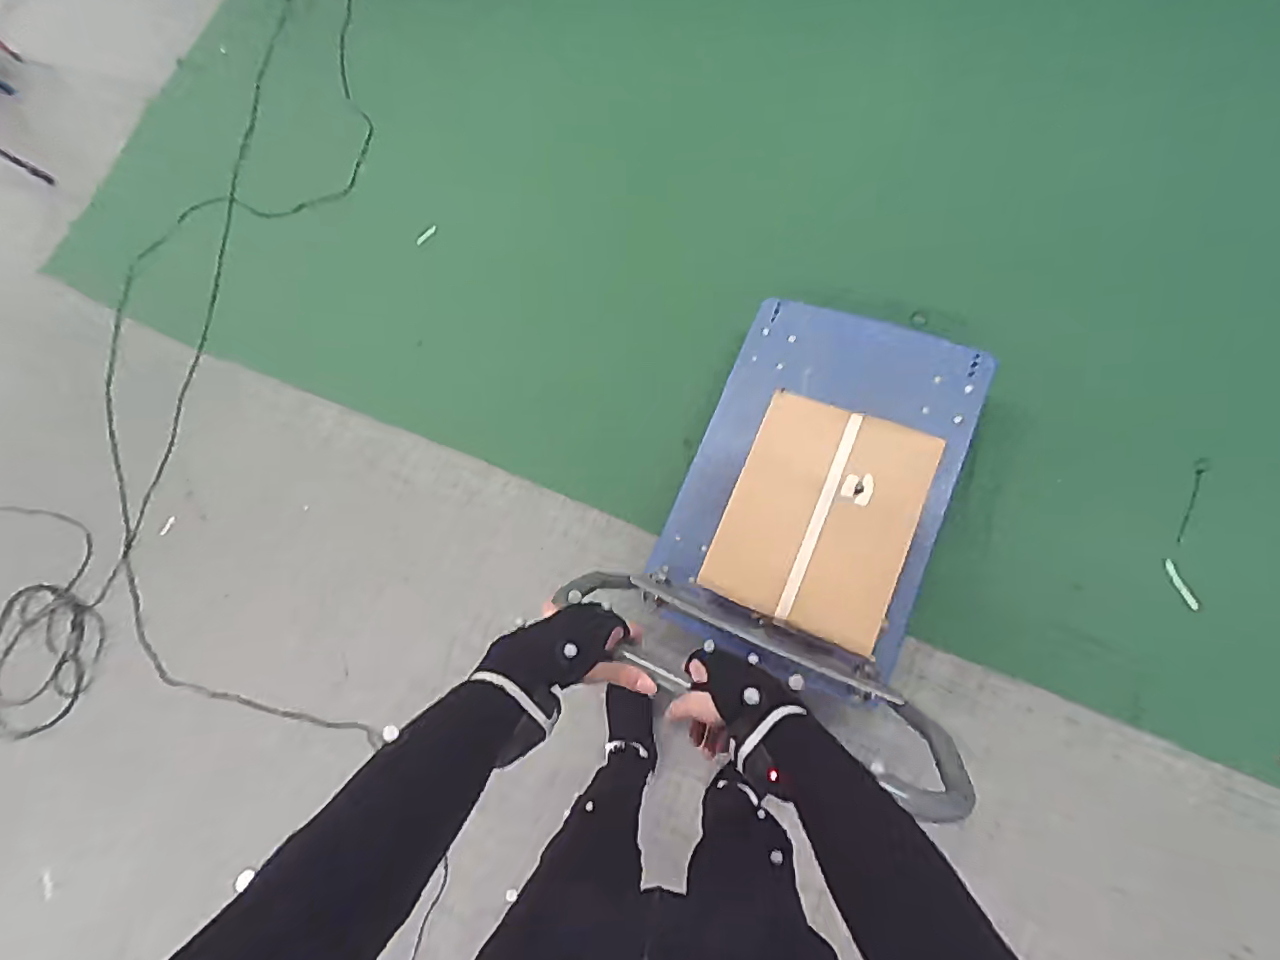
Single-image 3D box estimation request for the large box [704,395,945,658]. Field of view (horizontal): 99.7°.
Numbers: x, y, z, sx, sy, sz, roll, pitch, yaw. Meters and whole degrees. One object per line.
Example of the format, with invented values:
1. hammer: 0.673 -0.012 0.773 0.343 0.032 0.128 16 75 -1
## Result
1. large box: 0.354 0.106 1.094 0.320 0.320 0.408 21 79 16
